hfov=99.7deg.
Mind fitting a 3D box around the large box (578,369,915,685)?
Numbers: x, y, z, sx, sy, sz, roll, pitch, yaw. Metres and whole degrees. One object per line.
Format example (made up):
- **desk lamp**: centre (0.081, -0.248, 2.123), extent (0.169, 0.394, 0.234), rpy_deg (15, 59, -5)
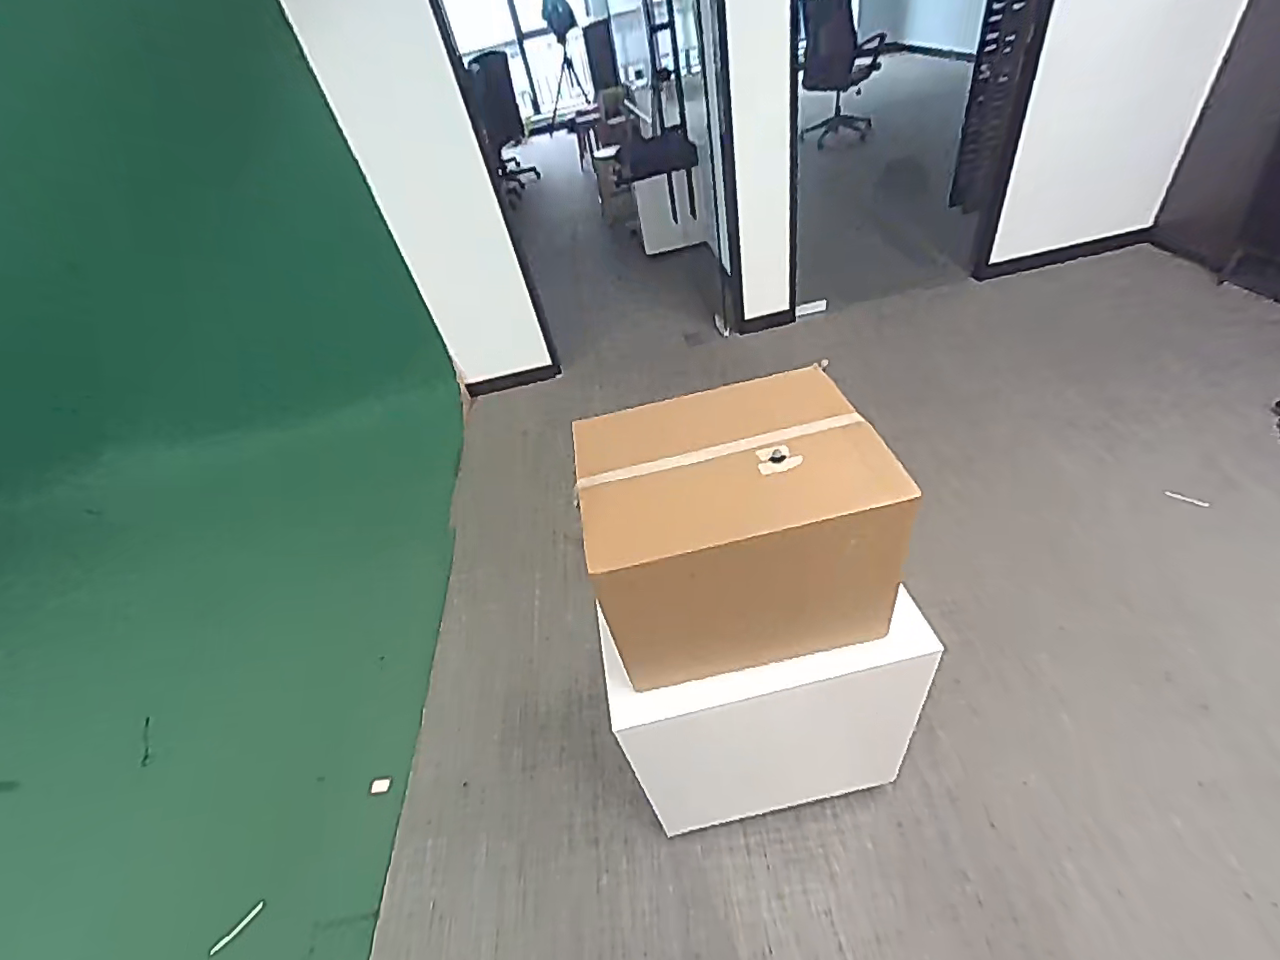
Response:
- **large box**: centre (0.138, 0.072, 0.852), extent (0.408, 0.320, 0.320), rpy_deg (-13, 43, 0)
